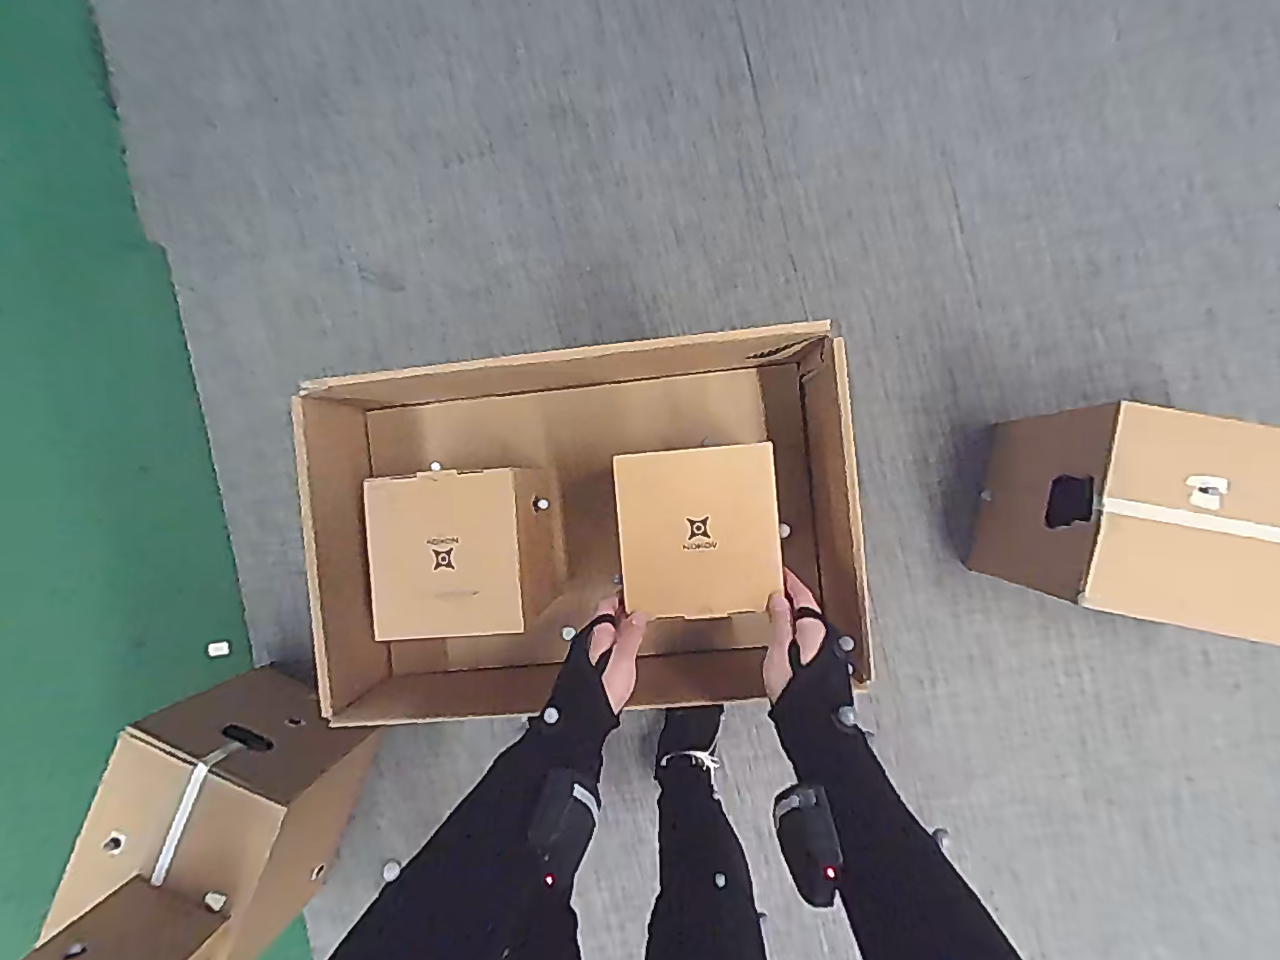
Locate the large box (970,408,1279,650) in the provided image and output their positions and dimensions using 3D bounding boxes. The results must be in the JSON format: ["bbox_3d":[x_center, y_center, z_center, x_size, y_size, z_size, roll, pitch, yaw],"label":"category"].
[{"bbox_3d":[0.877,0.075,0.932,0.408,0.320,0.320,11,91,4],"label":"large box"}]

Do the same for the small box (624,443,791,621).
[{"bbox_3d":[0.070,0.051,0.630,0.168,0.176,0.179,-4,93,2],"label":"small box"}]

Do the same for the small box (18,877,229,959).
[{"bbox_3d":[-0.767,0.735,0.790,0.179,0.176,0.168,23,92,2],"label":"small box"}]
